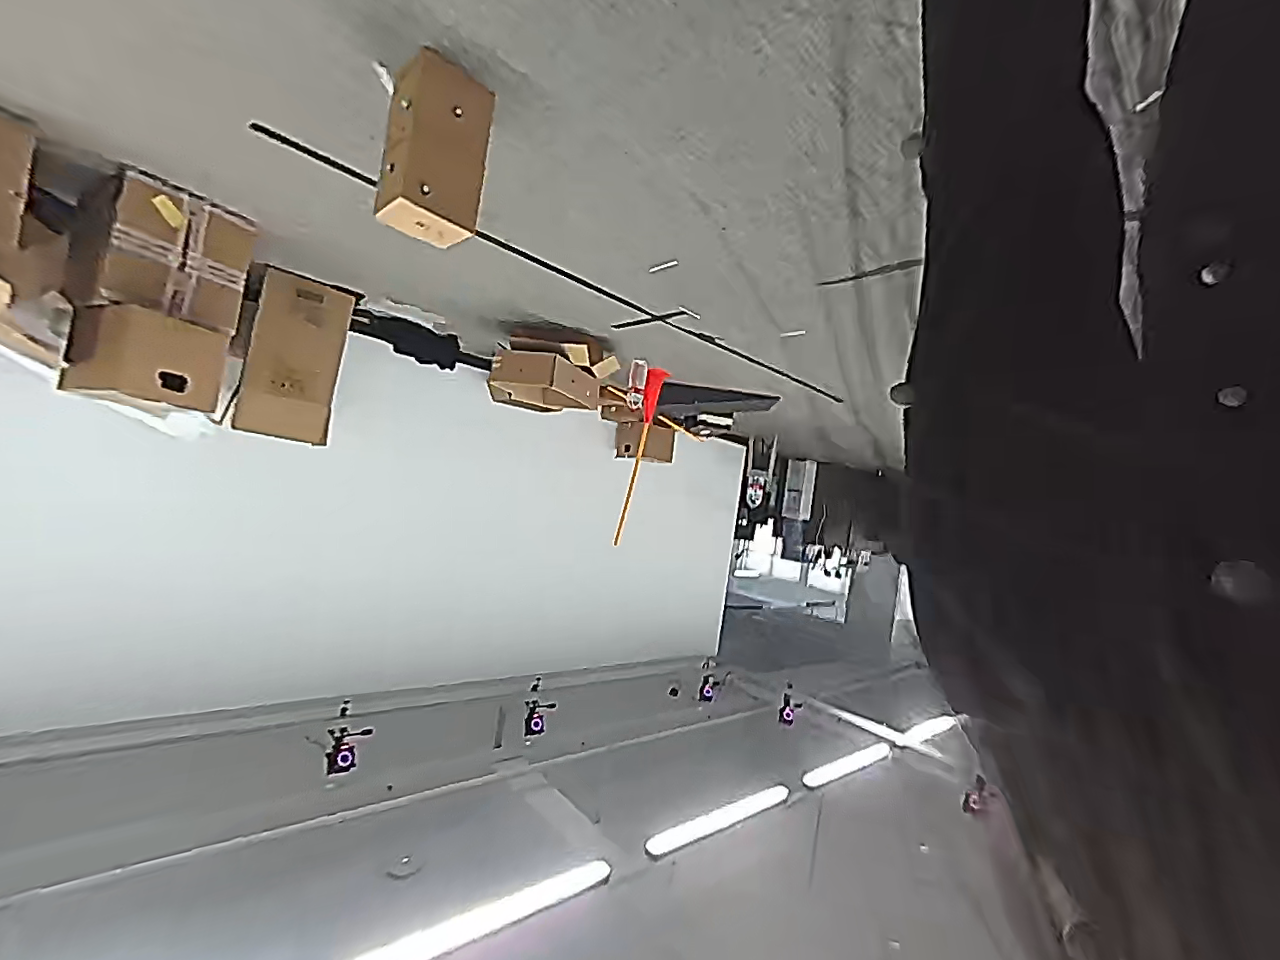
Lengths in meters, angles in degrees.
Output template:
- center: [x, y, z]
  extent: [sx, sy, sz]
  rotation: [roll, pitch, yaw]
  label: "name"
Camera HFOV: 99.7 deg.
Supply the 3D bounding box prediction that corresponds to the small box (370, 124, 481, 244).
- center: [-0.489, -0.676, 1.239]
  extent: [0.168, 0.176, 0.179]
  rotation: [7, 179, 45]
  label: "small box"
